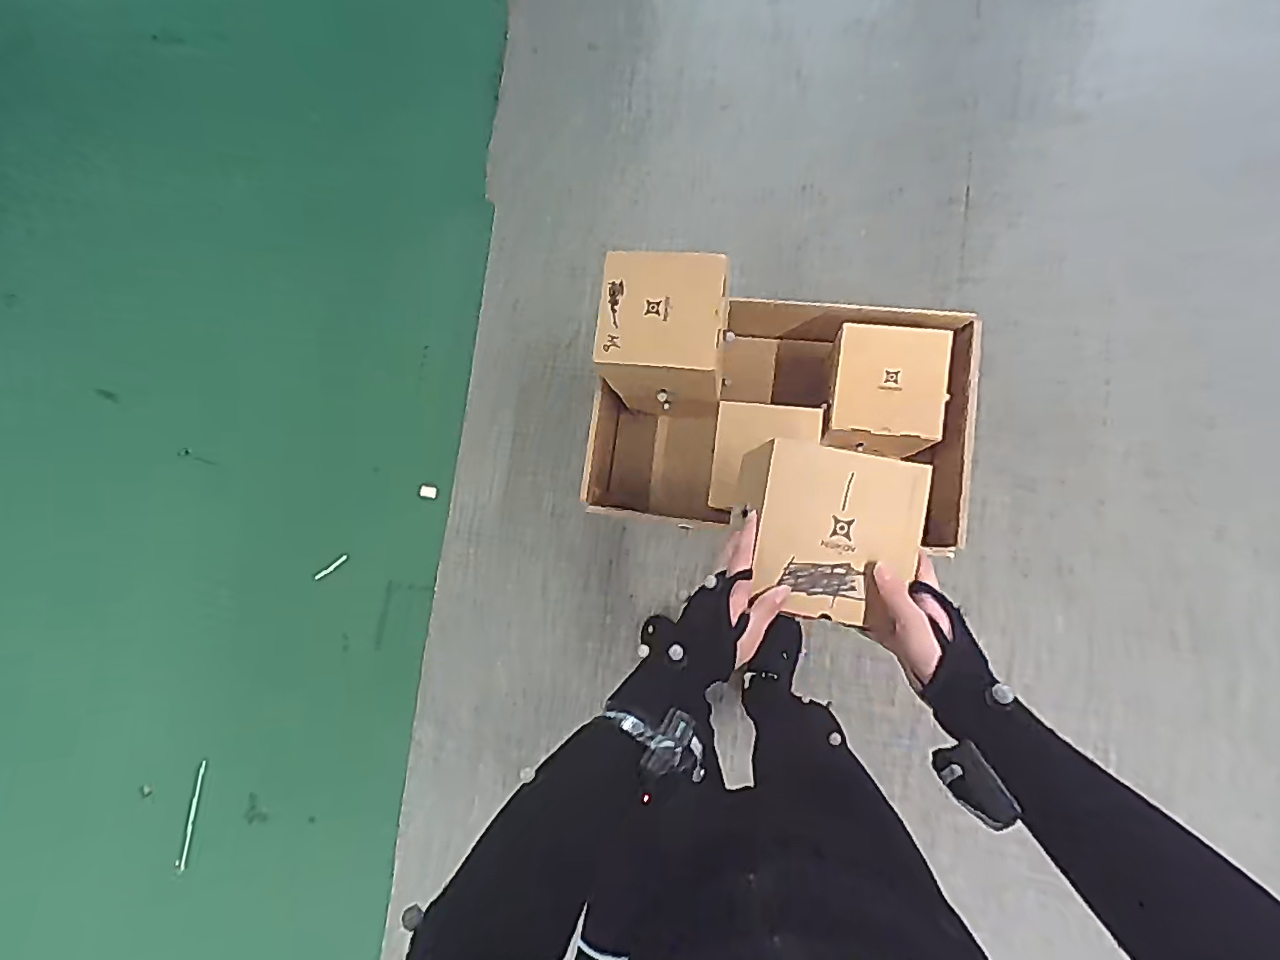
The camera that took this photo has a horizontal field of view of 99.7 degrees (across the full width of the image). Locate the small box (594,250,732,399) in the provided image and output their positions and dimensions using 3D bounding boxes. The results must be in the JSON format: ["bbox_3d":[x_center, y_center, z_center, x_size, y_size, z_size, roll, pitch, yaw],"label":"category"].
[{"bbox_3d":[0.042,-0.228,0.826,0.179,0.176,0.168,7,85,9],"label":"small box"}]

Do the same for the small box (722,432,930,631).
[{"bbox_3d":[0.197,0.055,0.623,0.168,0.176,0.179,11,87,0],"label":"small box"}]
